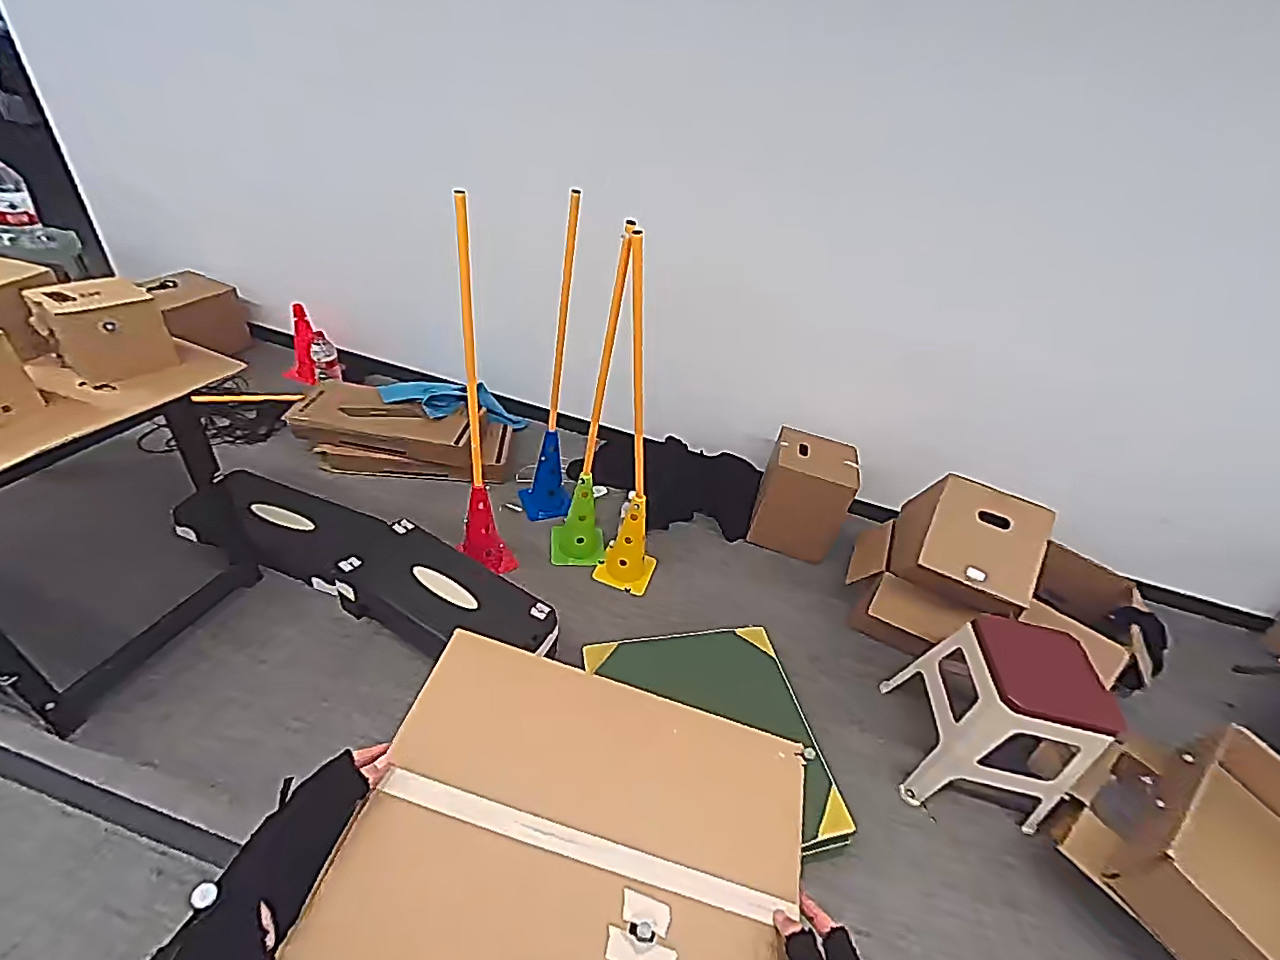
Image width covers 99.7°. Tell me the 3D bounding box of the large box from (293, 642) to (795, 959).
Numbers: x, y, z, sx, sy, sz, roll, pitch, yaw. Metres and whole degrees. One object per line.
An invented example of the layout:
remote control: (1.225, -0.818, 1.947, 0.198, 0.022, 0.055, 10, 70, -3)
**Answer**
large box: (-0.081, 0.444, 0.608, 0.408, 0.320, 0.320, 18, 46, 2)
